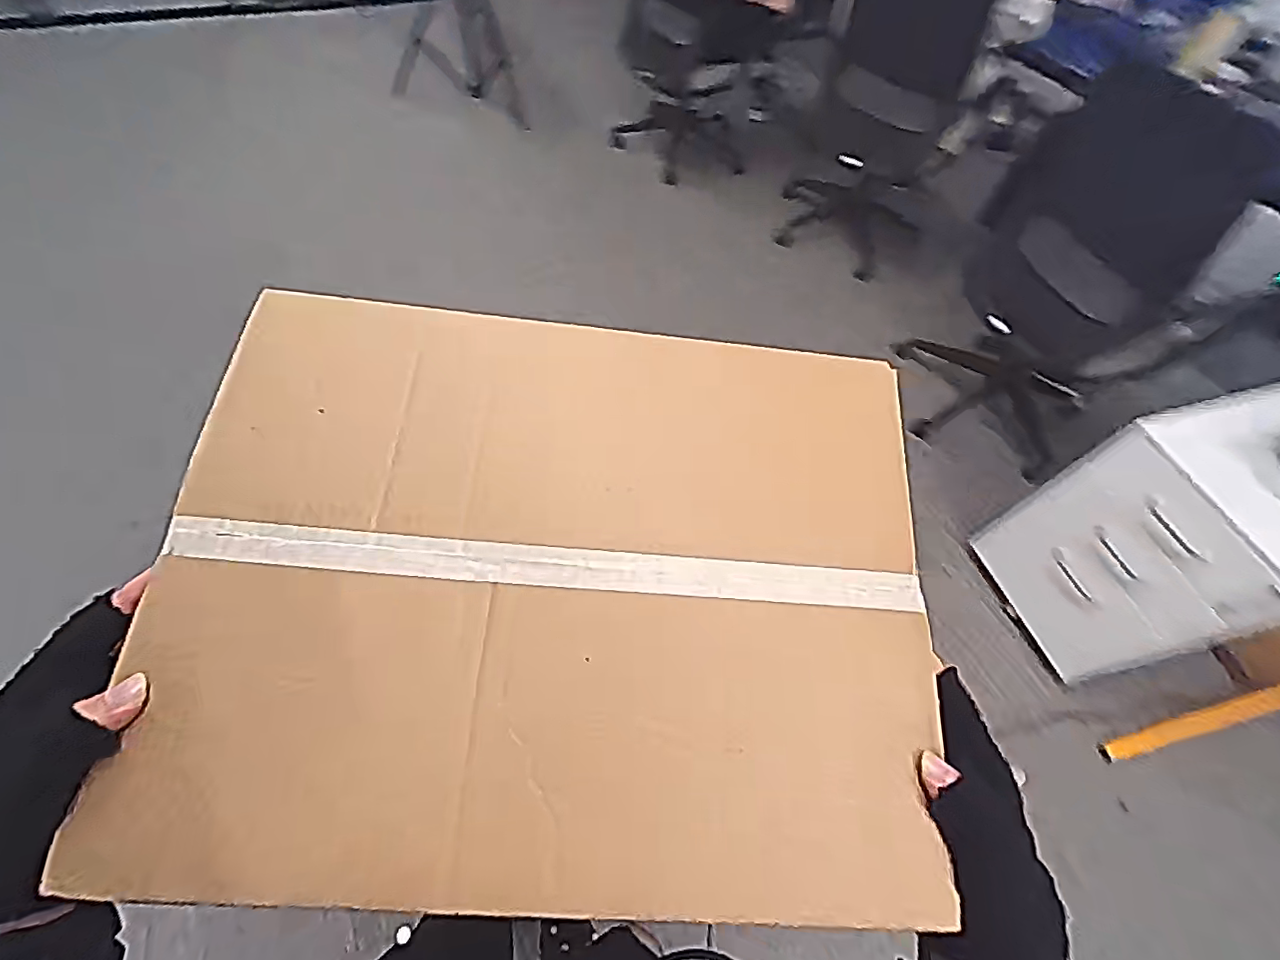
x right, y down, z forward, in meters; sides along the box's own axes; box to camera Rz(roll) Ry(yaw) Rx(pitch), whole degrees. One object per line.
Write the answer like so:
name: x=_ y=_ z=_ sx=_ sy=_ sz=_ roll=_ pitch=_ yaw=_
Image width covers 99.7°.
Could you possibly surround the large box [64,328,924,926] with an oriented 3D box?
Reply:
large box: x=-0.064 y=0.108 z=0.440 sx=0.408 sy=0.320 sz=0.320 roll=4 pitch=69 yaw=-5
